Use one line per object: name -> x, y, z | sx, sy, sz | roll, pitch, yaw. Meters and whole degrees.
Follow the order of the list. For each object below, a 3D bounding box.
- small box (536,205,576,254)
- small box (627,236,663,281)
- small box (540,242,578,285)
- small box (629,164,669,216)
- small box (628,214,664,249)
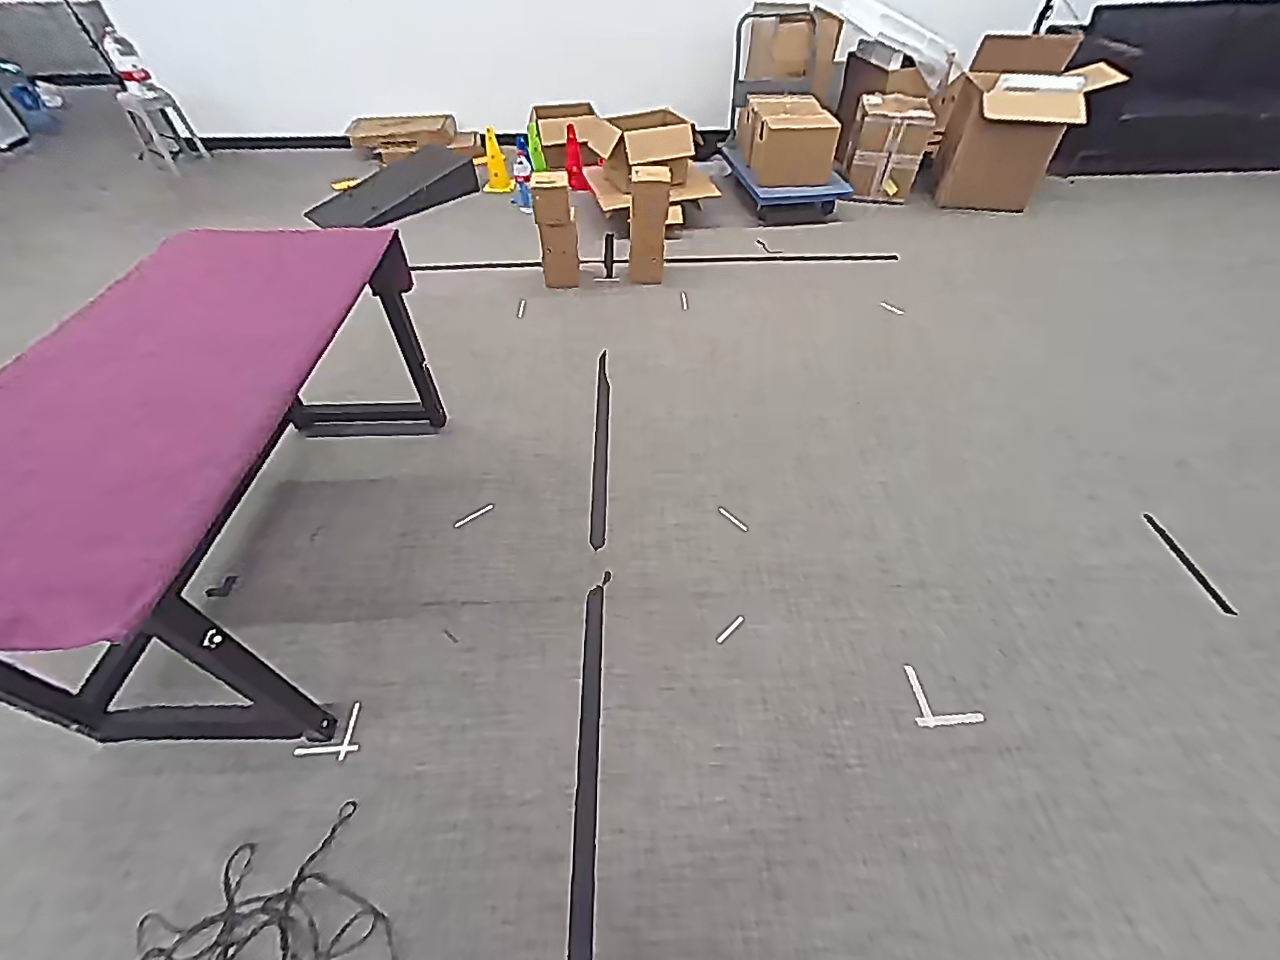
small box -> -0.404, -1.216, 2.626 | 0.168, 0.176, 0.179 | -1, 48, -1
small box -> 0.025, -1.142, 2.780 | 0.179, 0.176, 0.168 | 2, 49, 1
small box -> -0.410, -1.108, 2.750 | 0.179, 0.176, 0.168 | -4, 48, -2
small box -> 0.039, -1.359, 2.536 | 0.179, 0.176, 0.168 | 1, 50, -2
small box -> 0.026, -1.259, 2.665 | 0.168, 0.176, 0.179 | -1, 50, -2
